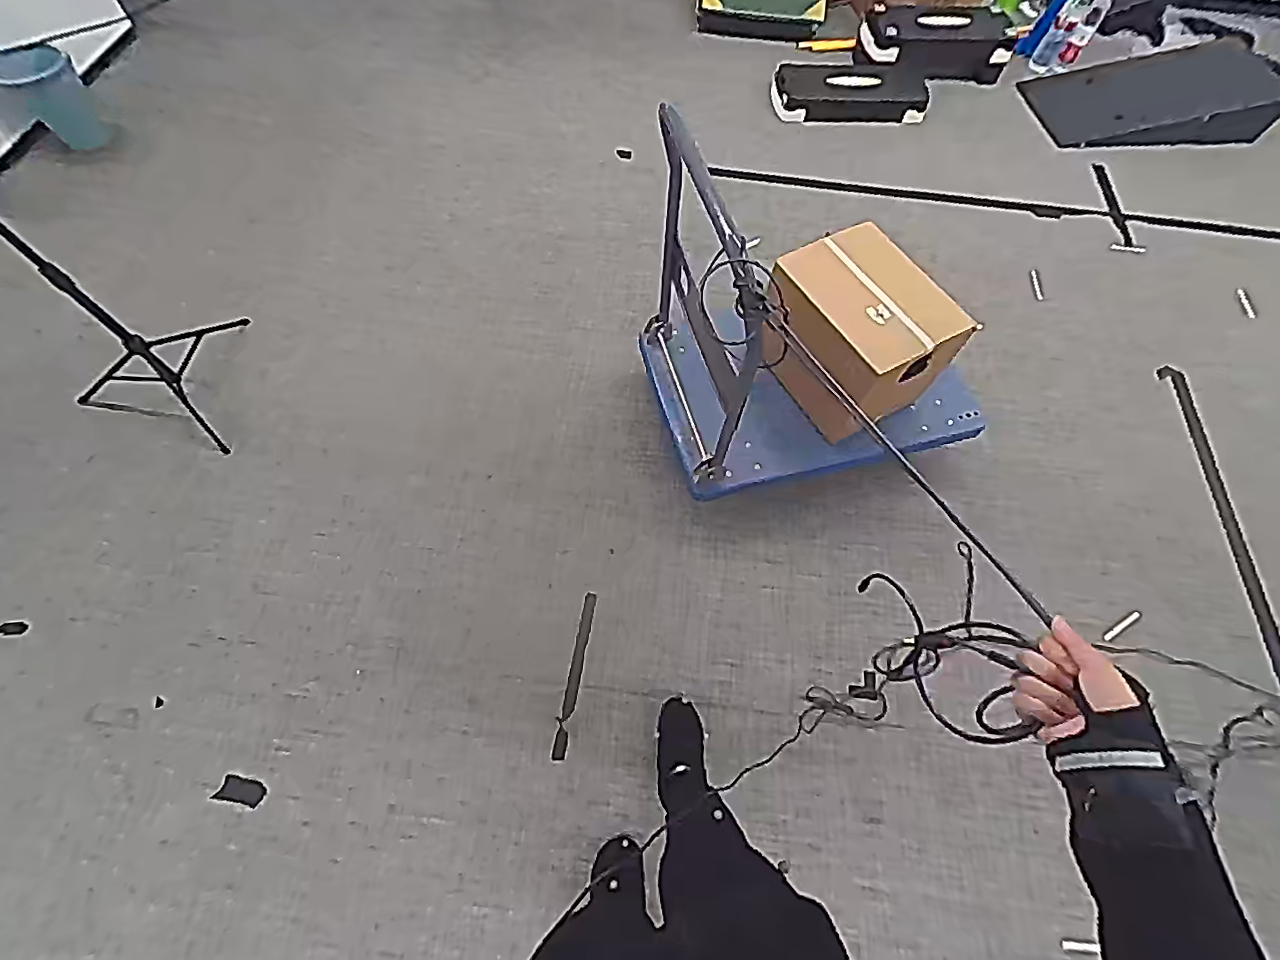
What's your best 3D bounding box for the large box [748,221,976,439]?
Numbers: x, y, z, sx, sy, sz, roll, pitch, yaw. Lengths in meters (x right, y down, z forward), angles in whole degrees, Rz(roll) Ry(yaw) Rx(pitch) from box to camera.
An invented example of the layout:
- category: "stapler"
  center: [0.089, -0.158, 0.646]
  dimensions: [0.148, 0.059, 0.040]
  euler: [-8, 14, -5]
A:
- category: "large box"
  center: [0.549, -0.390, 1.427]
  dimensions: [0.320, 0.320, 0.408]
  euler: [-27, 69, -13]
